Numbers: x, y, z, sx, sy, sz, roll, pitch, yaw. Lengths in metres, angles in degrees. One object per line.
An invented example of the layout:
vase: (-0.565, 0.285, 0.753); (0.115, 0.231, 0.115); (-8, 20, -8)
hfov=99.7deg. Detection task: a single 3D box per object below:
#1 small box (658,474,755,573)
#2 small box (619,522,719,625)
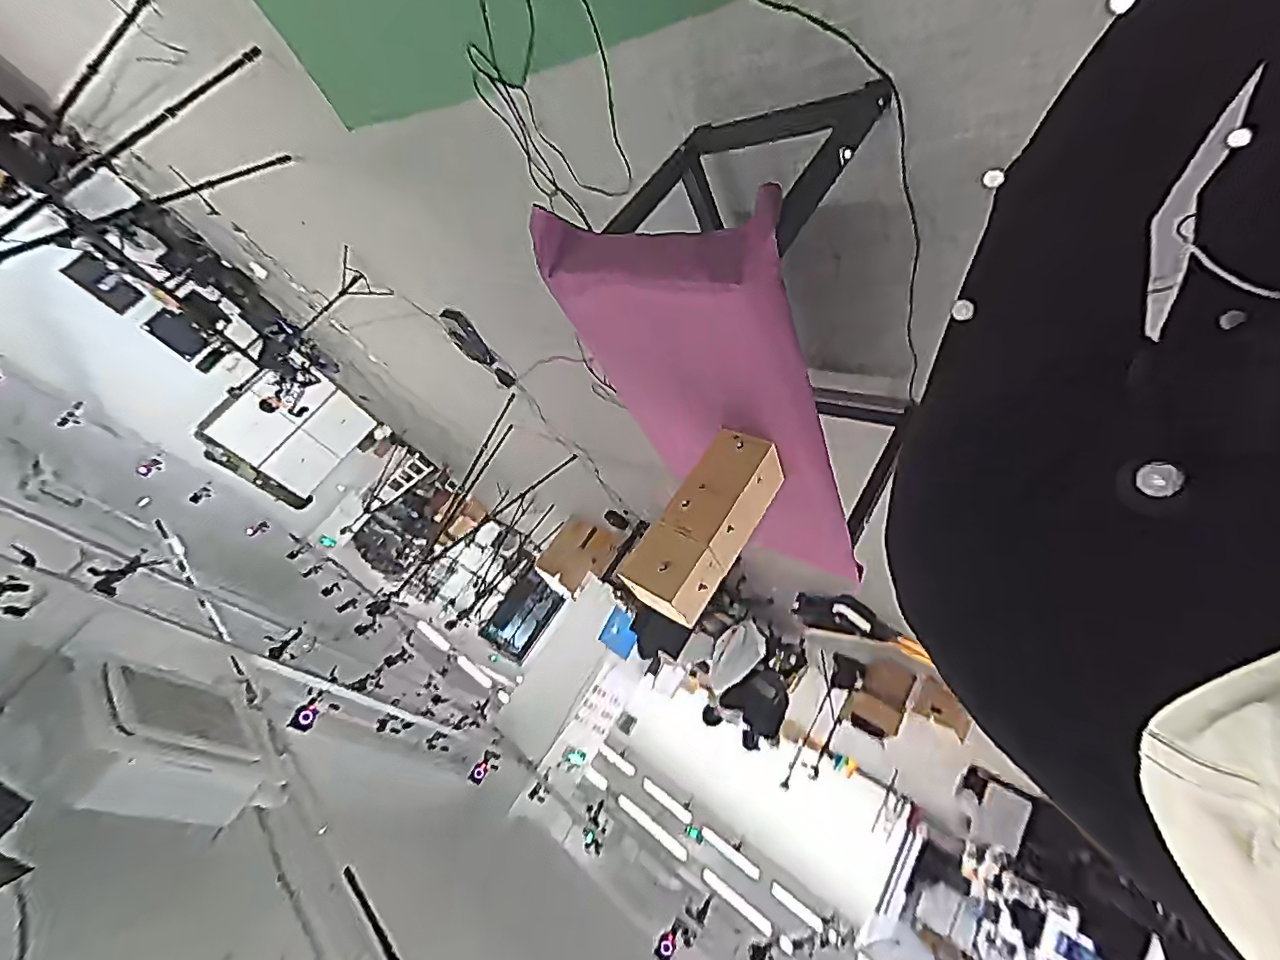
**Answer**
small box: (0.179, 0.109, 1.417); (0.168, 0.176, 0.179); (22, 157, 36)
small box: (0.083, 0.231, 1.368); (0.179, 0.176, 0.168); (22, 156, 36)
